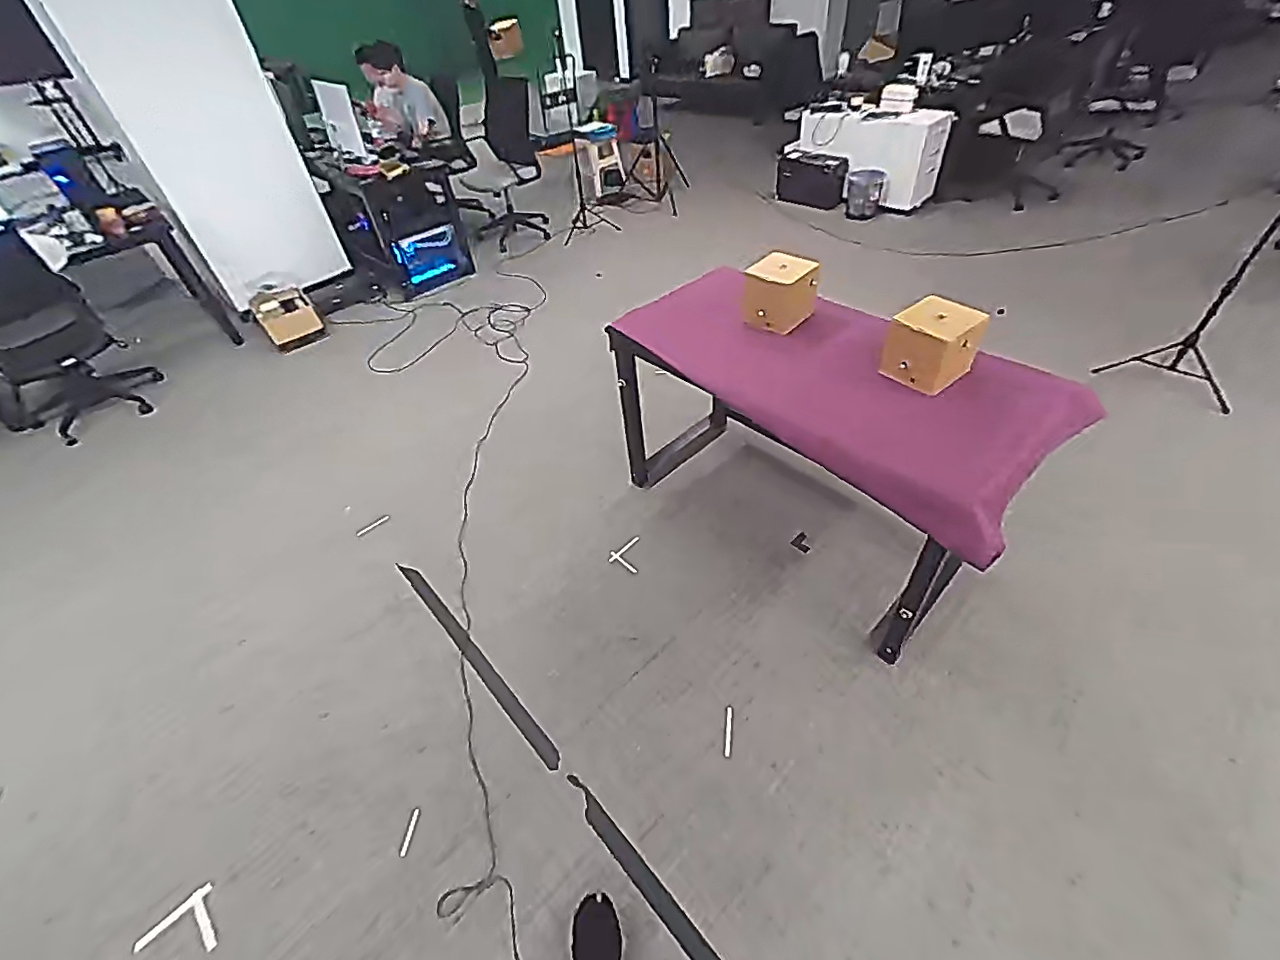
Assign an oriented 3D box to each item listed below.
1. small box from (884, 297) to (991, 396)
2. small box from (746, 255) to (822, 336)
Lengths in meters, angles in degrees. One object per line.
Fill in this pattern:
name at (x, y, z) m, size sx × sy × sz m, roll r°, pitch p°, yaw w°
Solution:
small box at (0.778, -0.353, 1.435) m, size 0.179 × 0.176 × 0.168 m, roll -31°, pitch 49°, yaw -21°
small box at (0.448, -0.583, 1.711) m, size 0.168 × 0.176 × 0.179 m, roll 32°, pitch 56°, yaw 33°
